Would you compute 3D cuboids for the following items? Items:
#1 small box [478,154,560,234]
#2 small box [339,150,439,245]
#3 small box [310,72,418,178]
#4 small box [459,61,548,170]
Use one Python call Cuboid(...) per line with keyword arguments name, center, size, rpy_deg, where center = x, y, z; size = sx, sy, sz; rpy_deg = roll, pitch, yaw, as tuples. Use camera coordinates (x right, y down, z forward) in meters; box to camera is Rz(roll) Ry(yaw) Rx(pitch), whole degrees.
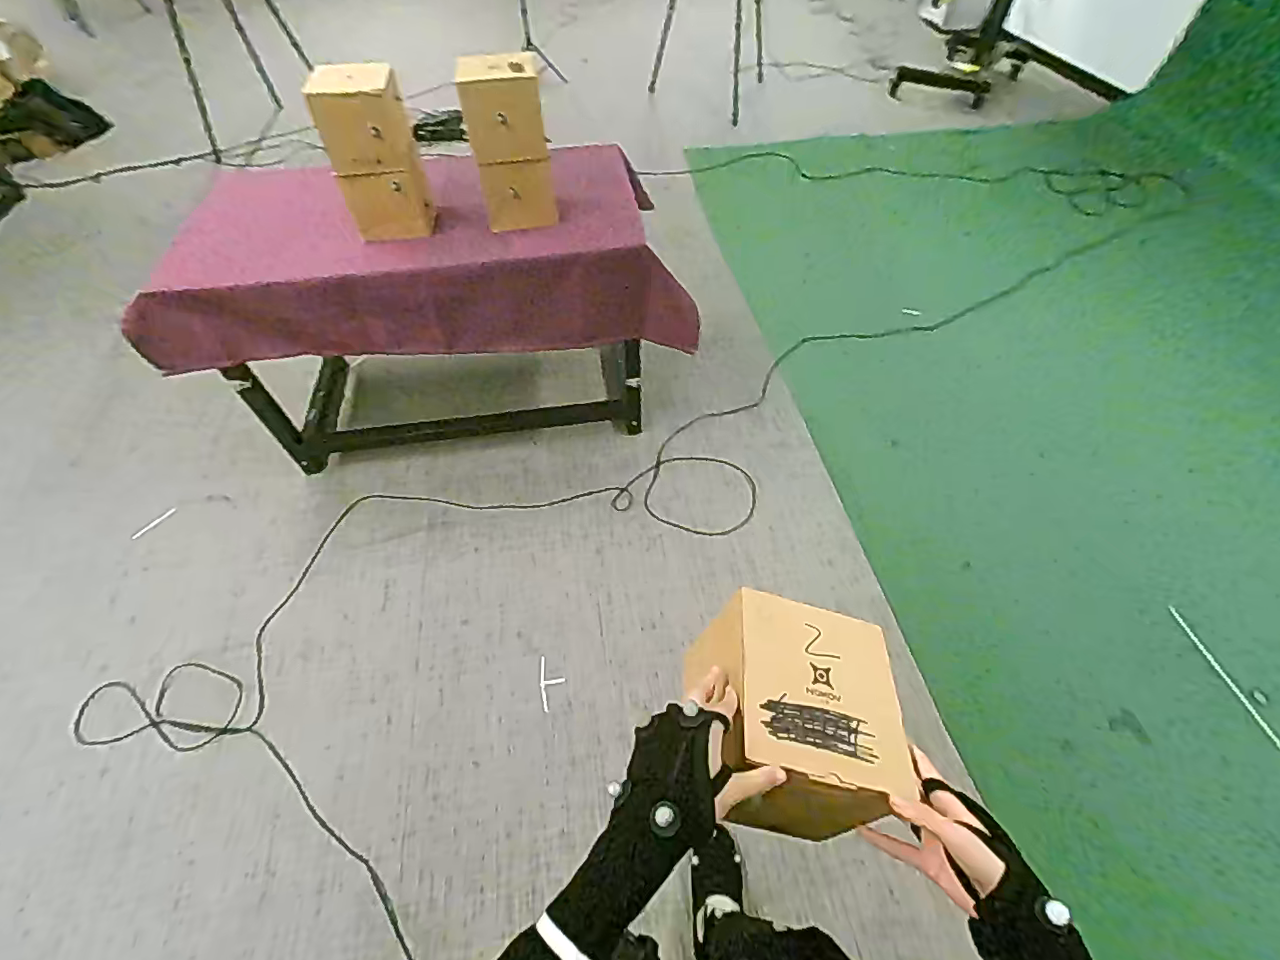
Cuboid(name="small box", center=(-0.314, -0.765, 1.414), size=(0.179, 0.176, 0.168), rpy_deg=(-10, 53, -5))
Cuboid(name="small box", center=(-0.638, -0.727, 1.396), size=(0.179, 0.176, 0.168), rpy_deg=(-6, 53, -5))
Cuboid(name="small box", center=(-0.633, -0.826, 1.267), size=(0.168, 0.176, 0.179), rpy_deg=(-7, 52, -6))
Cuboid(name="small box", center=(-0.317, -0.861, 1.281), size=(0.179, 0.176, 0.168), rpy_deg=(-9, 53, -5))
